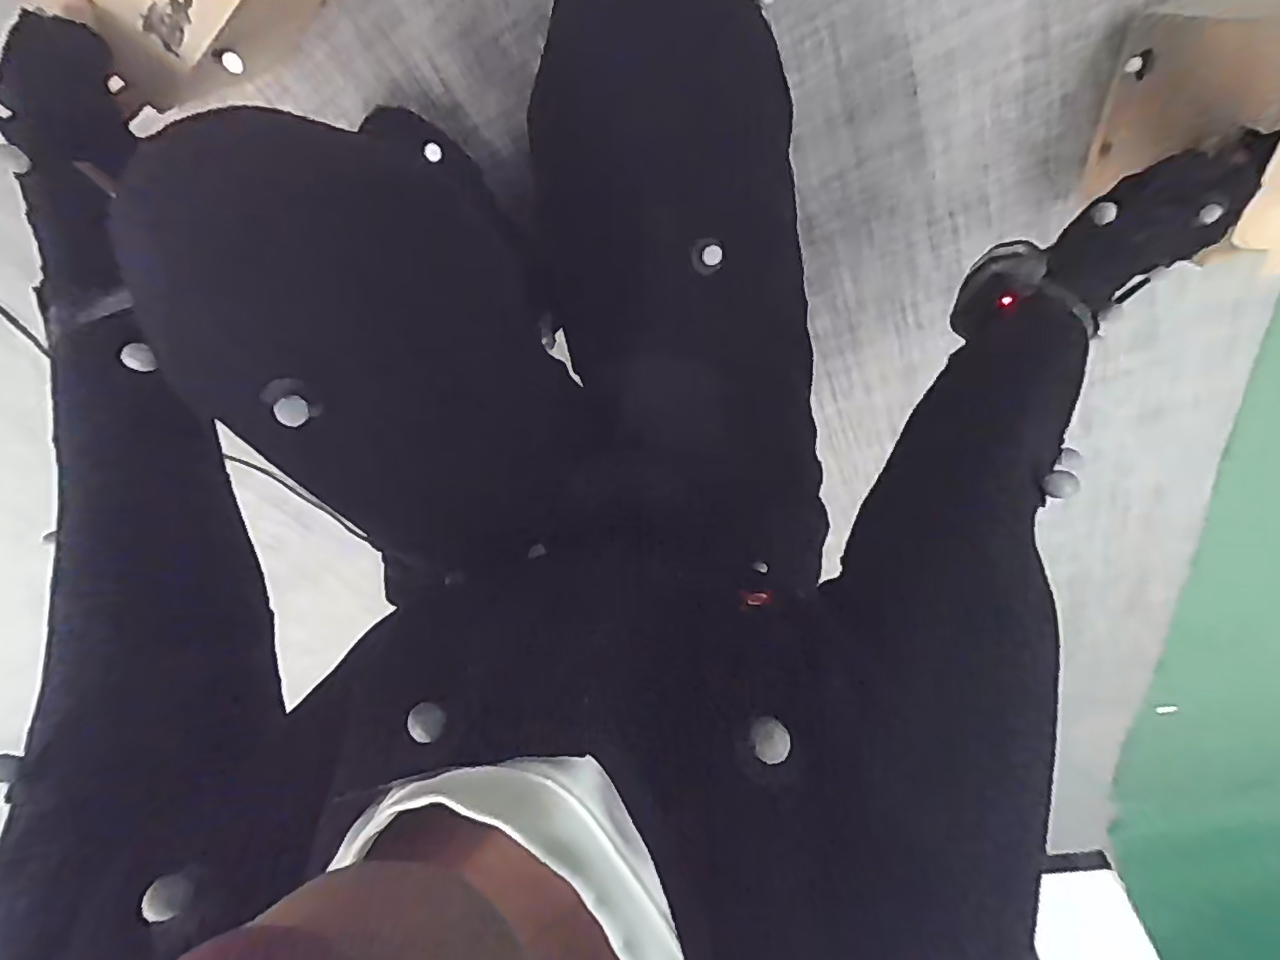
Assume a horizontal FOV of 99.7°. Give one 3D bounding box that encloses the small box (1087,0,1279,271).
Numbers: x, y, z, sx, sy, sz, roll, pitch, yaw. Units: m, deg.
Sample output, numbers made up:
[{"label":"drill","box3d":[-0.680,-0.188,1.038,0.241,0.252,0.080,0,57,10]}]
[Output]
[{"label":"small box","box3d":[0.535,-0.305,0.452,0.179,0.176,0.168,-14,134,6]}]
